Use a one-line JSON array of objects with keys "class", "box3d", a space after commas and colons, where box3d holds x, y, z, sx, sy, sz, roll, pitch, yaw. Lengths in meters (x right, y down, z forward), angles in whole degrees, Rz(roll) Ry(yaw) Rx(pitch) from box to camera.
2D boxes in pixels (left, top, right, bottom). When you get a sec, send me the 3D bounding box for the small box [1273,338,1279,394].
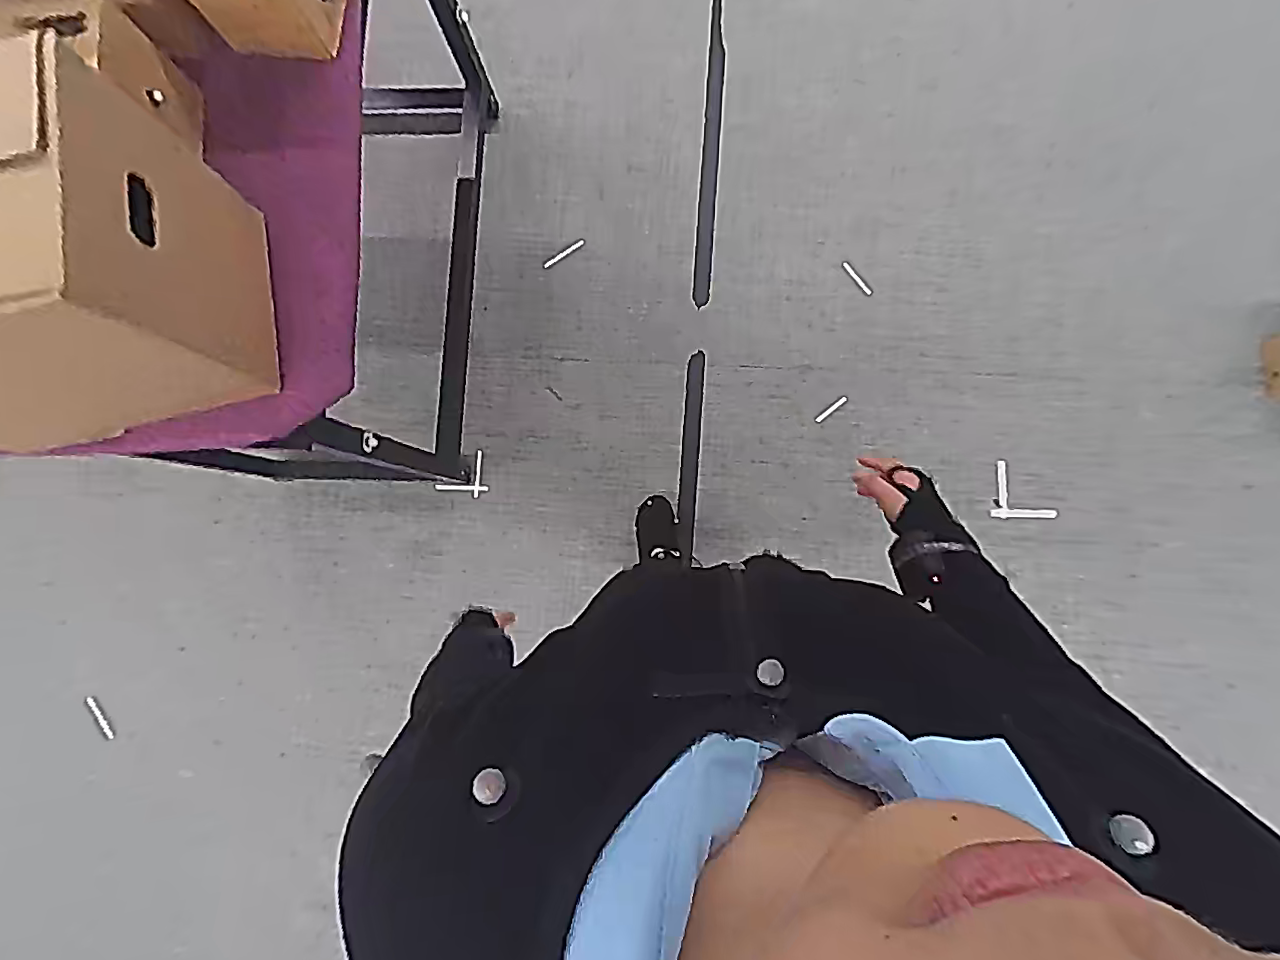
[{"class": "small box", "box3d": [1.803, -0.315, 1.392, 0.179, 0.176, 0.168, 1, 84, 2]}]
